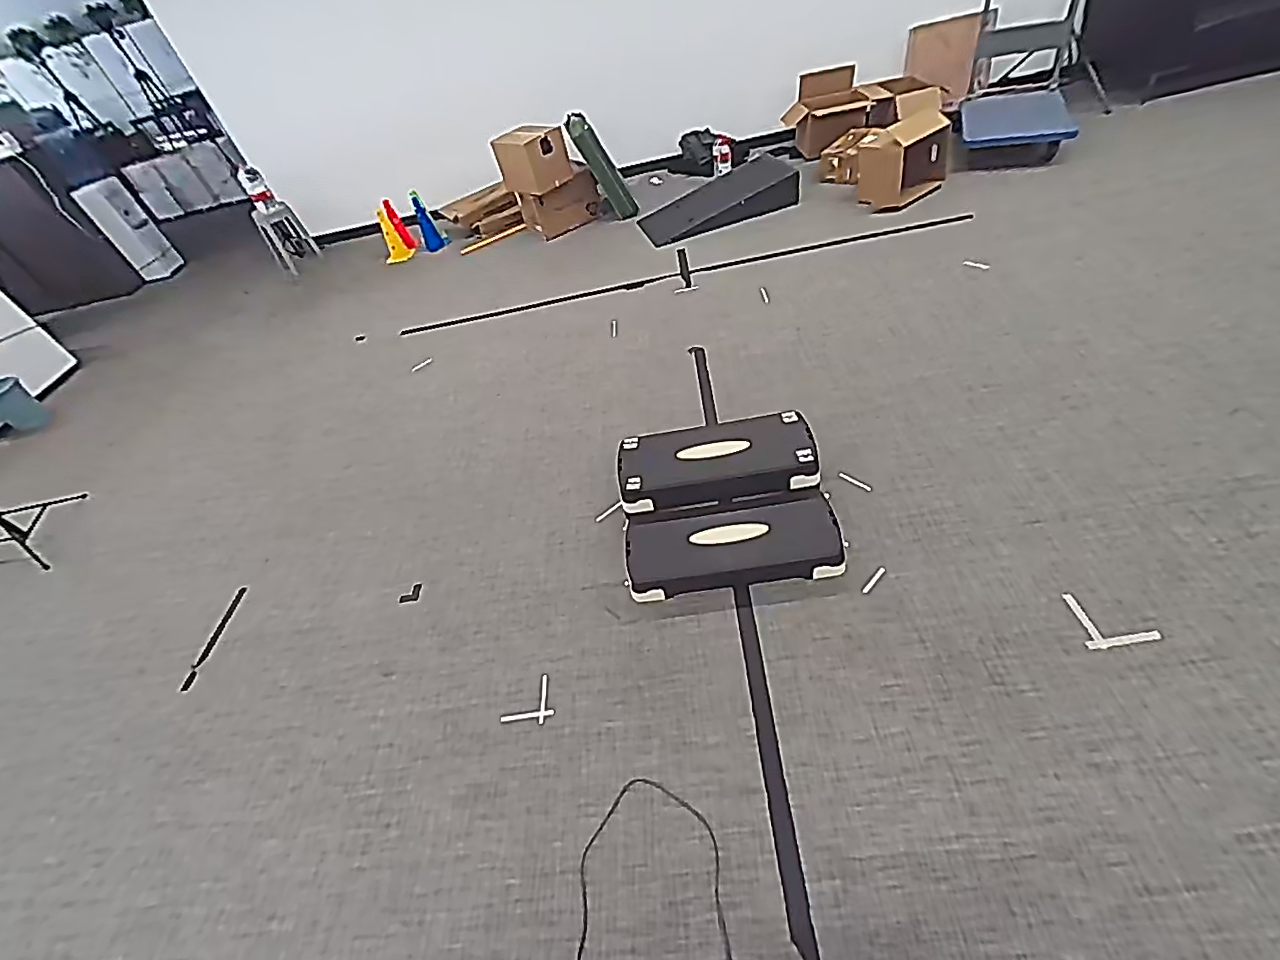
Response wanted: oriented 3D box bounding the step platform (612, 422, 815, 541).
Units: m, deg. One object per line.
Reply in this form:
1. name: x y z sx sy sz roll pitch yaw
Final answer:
1. step platform: 0.245 0.000 1.881 0.684 0.204 0.286 -10 46 5
